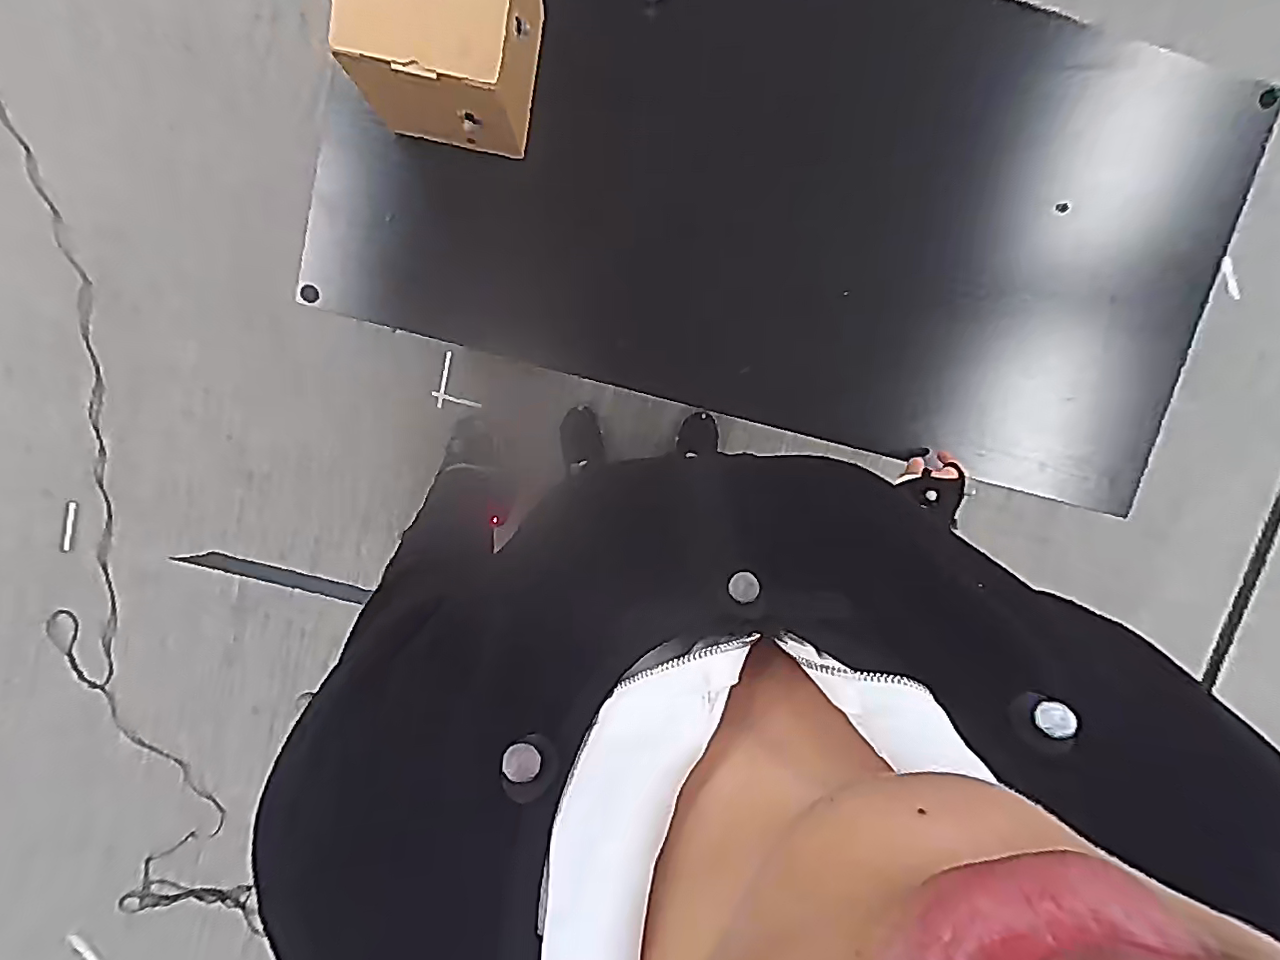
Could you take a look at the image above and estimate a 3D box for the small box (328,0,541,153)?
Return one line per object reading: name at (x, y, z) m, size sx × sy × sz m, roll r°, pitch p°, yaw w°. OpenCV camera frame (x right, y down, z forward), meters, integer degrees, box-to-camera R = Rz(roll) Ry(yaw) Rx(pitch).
small box at (-0.207, -0.492, 0.587) m, size 0.168 × 0.176 × 0.179 m, roll 10°, pitch 97°, yaw -6°
